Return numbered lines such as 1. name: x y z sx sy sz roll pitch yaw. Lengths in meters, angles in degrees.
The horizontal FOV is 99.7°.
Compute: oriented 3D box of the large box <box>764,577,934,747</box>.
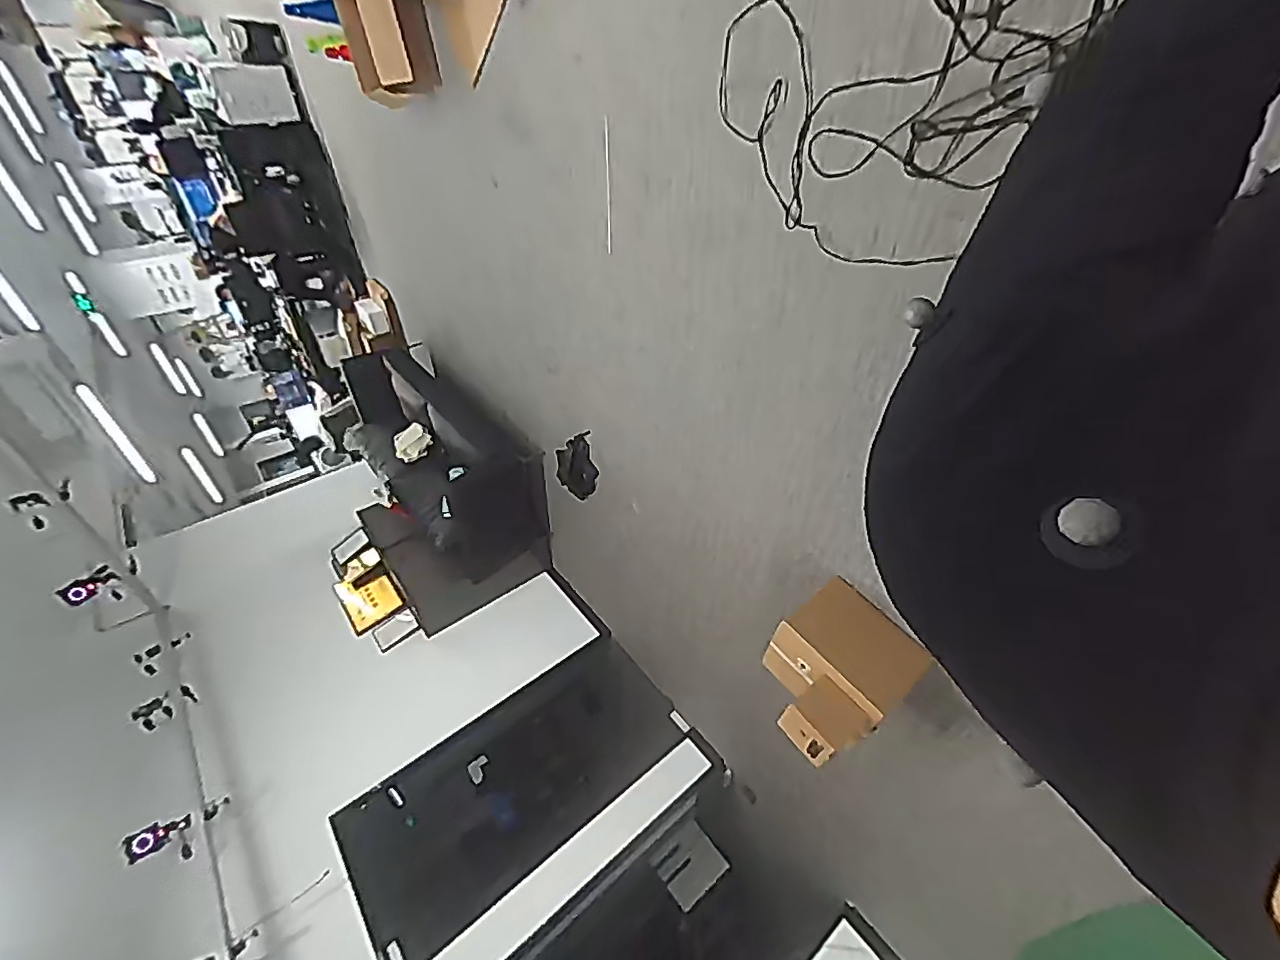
1. large box: 0.712 0.624 1.887 0.408 0.320 0.320 44 145 32
